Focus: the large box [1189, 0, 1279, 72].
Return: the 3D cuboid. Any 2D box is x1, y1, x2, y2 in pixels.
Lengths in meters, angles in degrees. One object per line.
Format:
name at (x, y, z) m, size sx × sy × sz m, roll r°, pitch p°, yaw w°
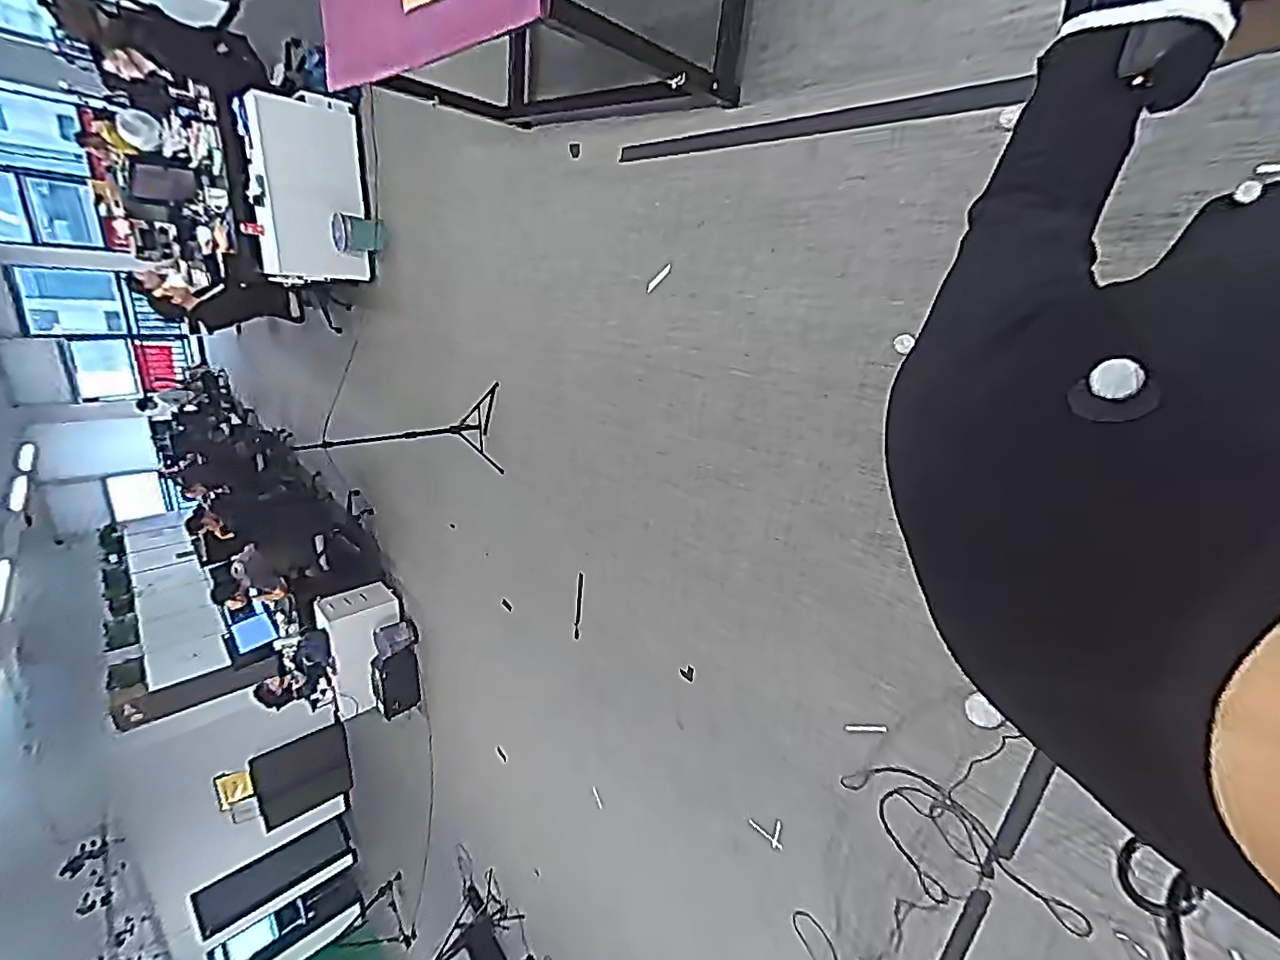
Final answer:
large box at (0.606, -0.443, 0.268) m, size 0.408 × 0.320 × 0.320 m, roll 22°, pitch 127°, yaw 39°
